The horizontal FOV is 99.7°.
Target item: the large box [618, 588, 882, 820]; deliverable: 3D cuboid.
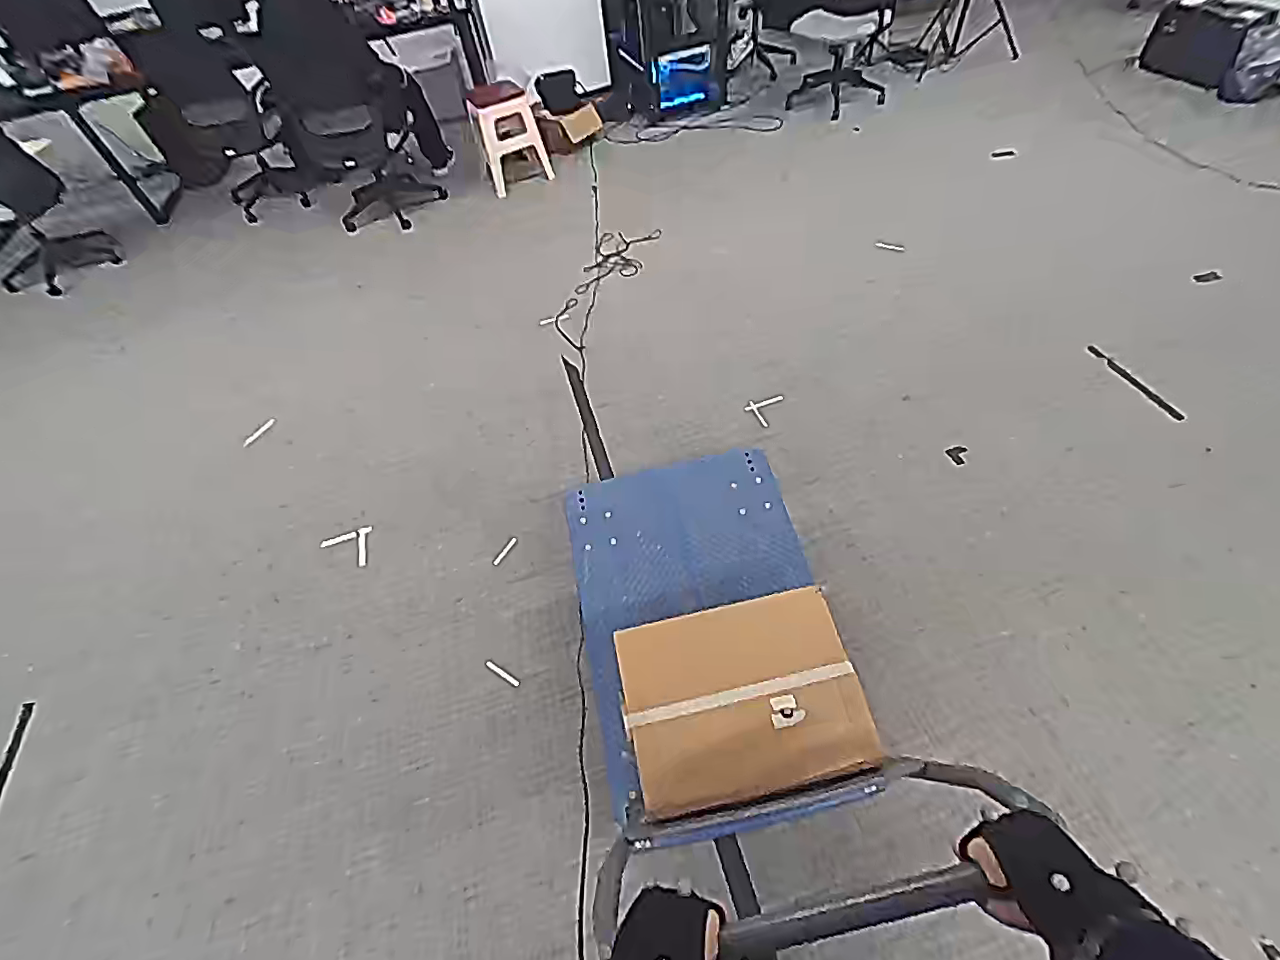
[{"bbox_3d":[0.192,0.457,1.096,0.408,0.320,0.320,-13,62,-3],"label":"large box"}]
